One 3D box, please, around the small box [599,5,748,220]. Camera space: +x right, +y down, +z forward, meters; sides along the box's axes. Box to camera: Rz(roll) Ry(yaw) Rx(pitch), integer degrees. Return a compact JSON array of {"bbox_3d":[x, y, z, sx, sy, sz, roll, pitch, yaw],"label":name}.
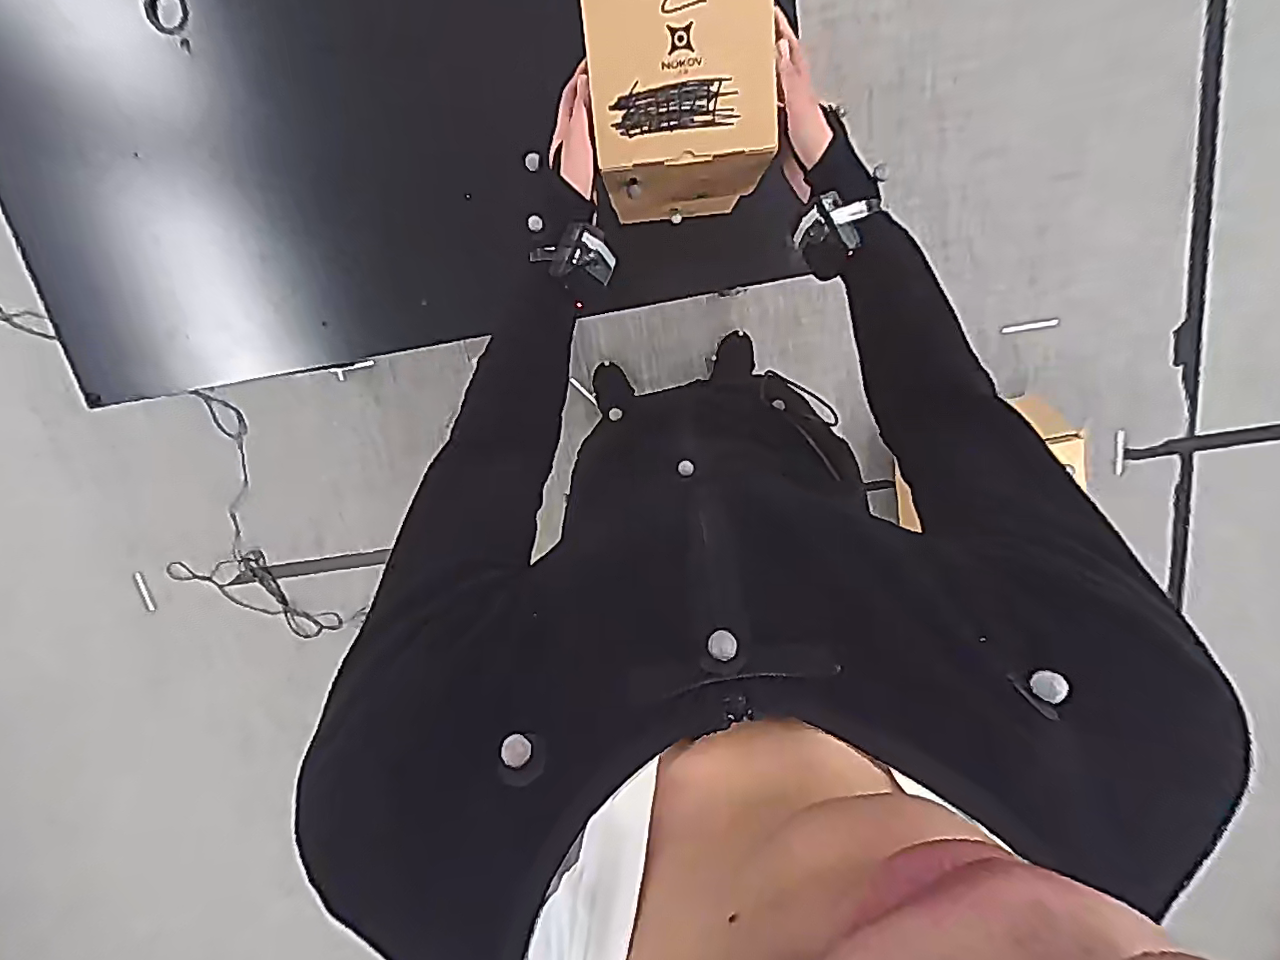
[{"bbox_3d":[0.042,-0.450,0.692,0.168,0.176,0.179,-4,105,3],"label":"small box"}]
